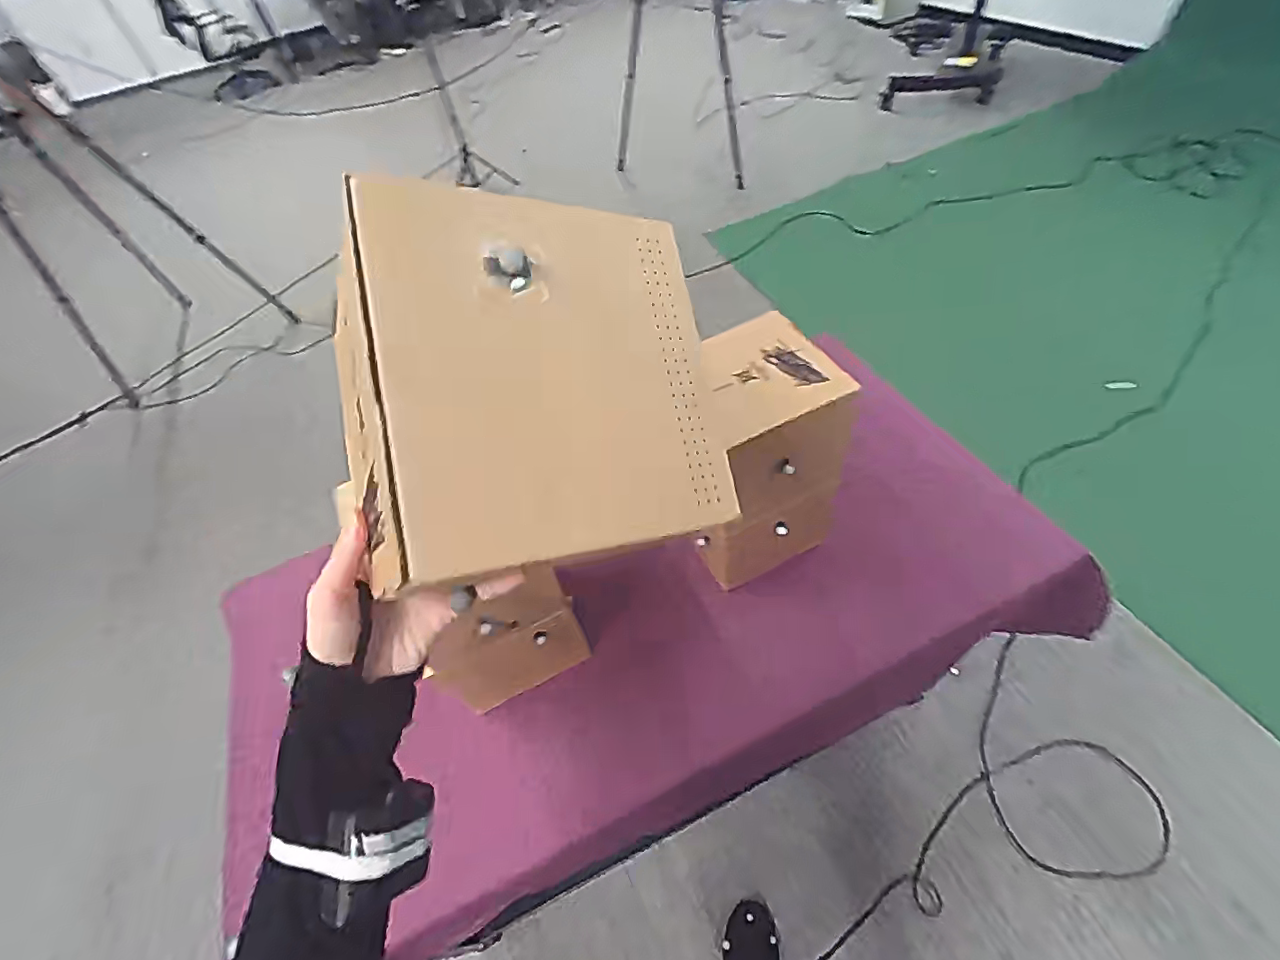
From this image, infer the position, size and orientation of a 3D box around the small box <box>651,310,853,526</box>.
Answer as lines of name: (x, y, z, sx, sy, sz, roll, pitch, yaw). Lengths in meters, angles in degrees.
small box: (0.132, -0.074, 0.681, 0.179, 0.176, 0.168, -26, 54, -9)

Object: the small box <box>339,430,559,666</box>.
small box: (-0.213, 0.080, 0.624, 0.168, 0.176, 0.179, -27, 53, -10)

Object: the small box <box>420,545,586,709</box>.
small box: (-0.195, 0.186, 0.749, 0.179, 0.176, 0.168, -26, 53, -11)

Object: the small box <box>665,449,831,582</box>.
small box: (0.156, 0.025, 0.809, 0.179, 0.176, 0.168, -25, 54, -9)
